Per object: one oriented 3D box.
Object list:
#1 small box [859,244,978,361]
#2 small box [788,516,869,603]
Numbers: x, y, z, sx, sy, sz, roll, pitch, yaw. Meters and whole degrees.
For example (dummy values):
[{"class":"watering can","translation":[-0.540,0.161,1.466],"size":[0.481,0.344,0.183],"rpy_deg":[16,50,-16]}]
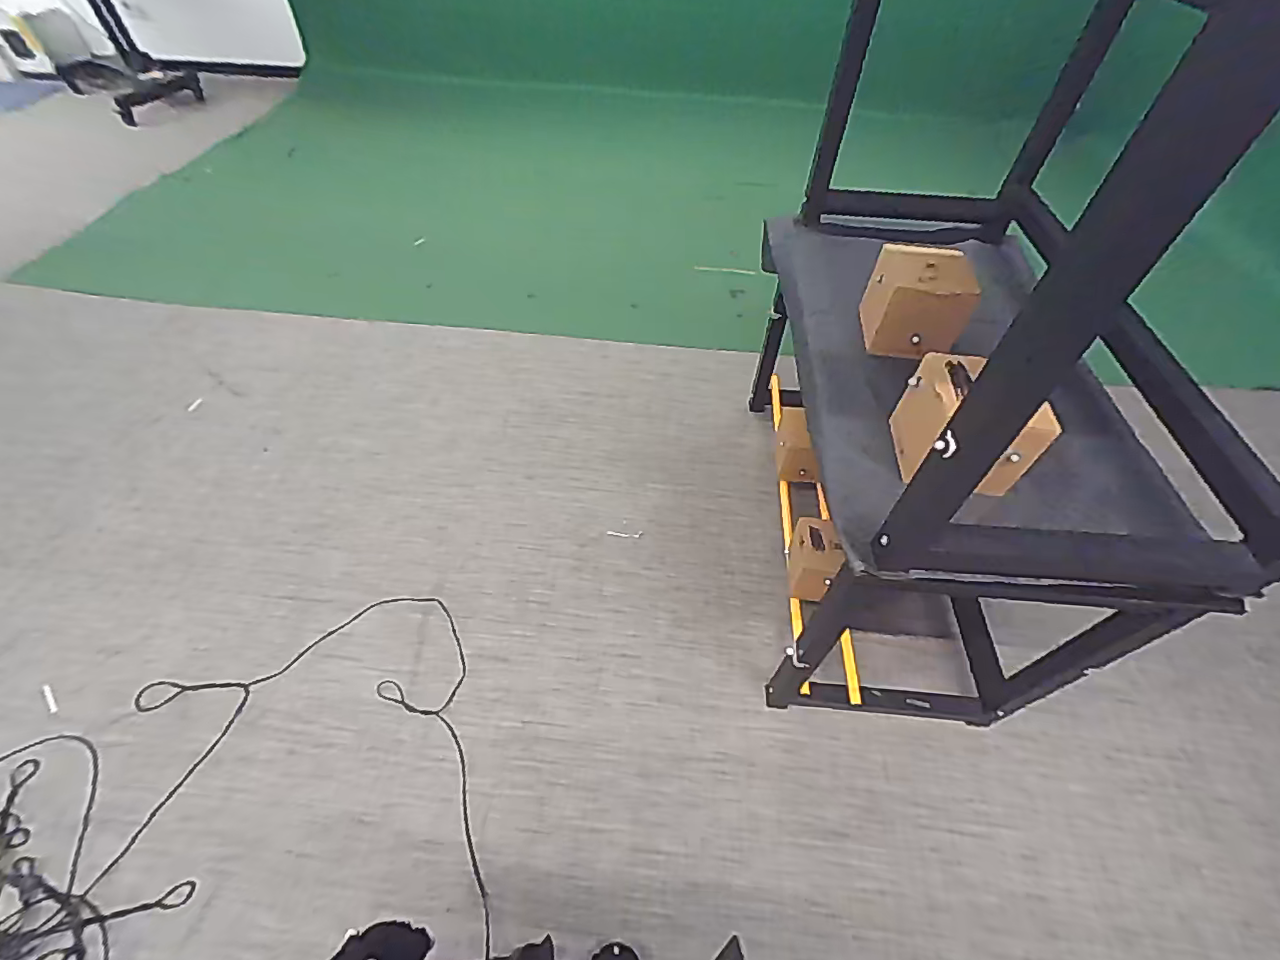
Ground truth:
[{"class":"small box","translation":[0.595,-0.388,1.185],"size":[0.168,0.176,0.179],"rpy_deg":[7,51,4]},{"class":"small box","translation":[0.509,0.223,1.488],"size":[0.179,0.176,0.168],"rpy_deg":[7,51,4]}]
